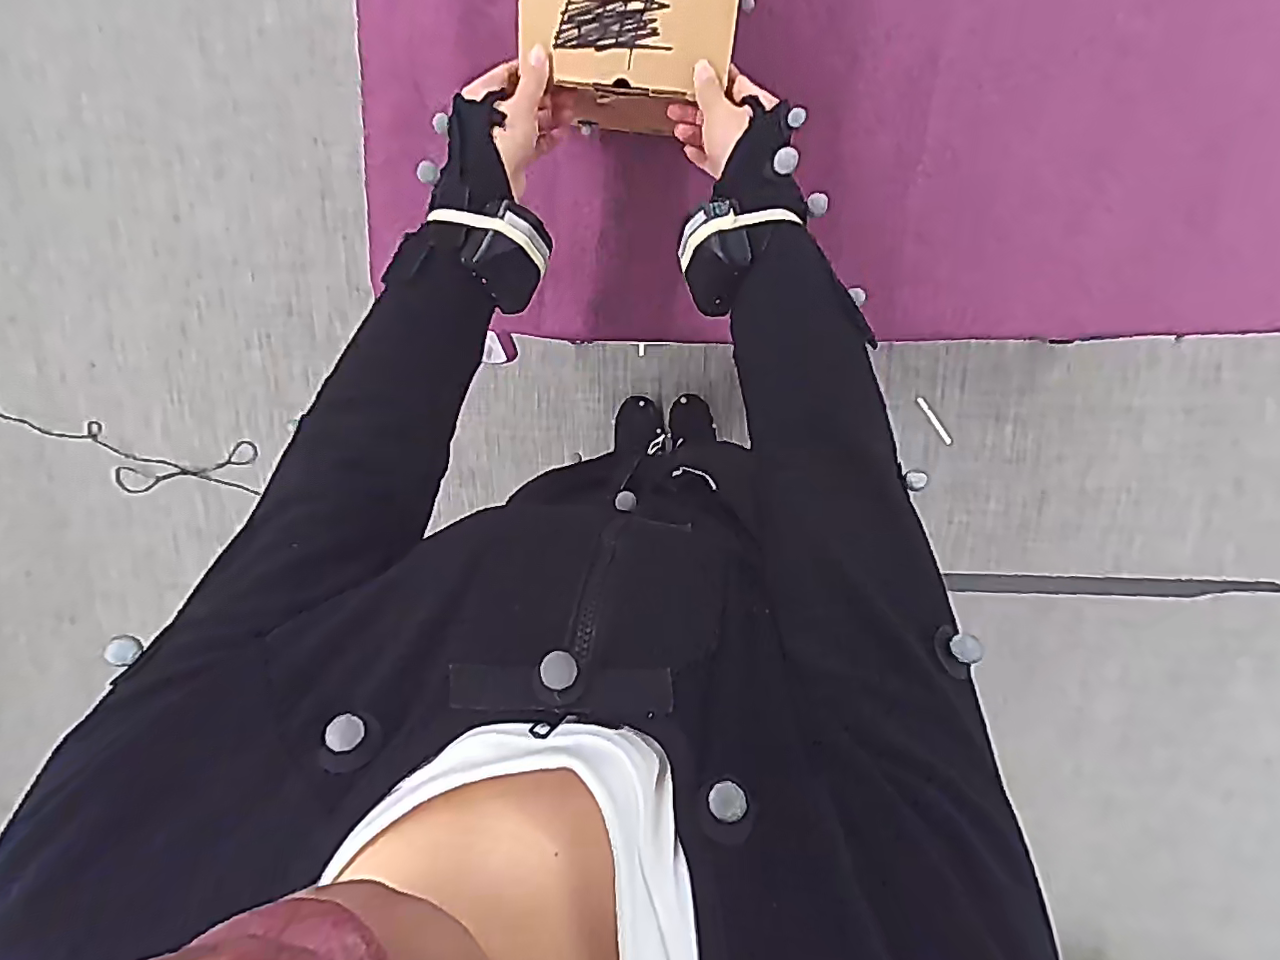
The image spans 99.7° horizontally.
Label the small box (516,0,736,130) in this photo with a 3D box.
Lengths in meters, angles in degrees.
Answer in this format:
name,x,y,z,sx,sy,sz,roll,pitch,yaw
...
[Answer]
name,x,y,z,sx,sy,sz,roll,pitch,yaw
small box,-0.001,-0.418,0.461,0.168,0.176,0.179,7,113,2
